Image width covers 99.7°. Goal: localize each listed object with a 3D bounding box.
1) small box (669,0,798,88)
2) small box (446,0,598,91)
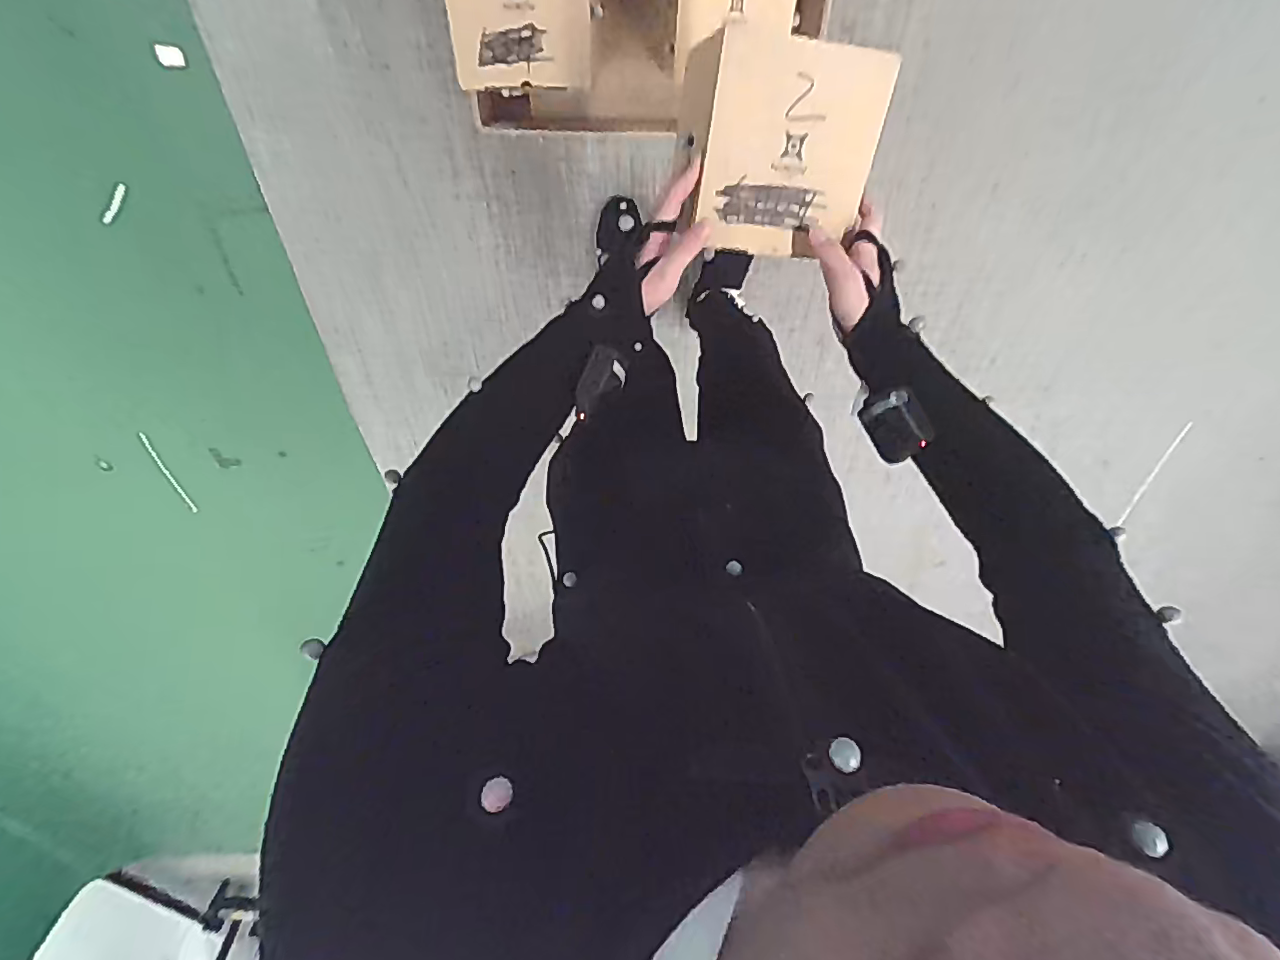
[{"bbox_3d":[0.133,-0.702,0.806,0.168,0.176,0.179,1,130,-2],"label":"small box"},{"bbox_3d":[-0.139,-0.597,0.670,0.168,0.176,0.179,-1,128,-2],"label":"small box"}]
